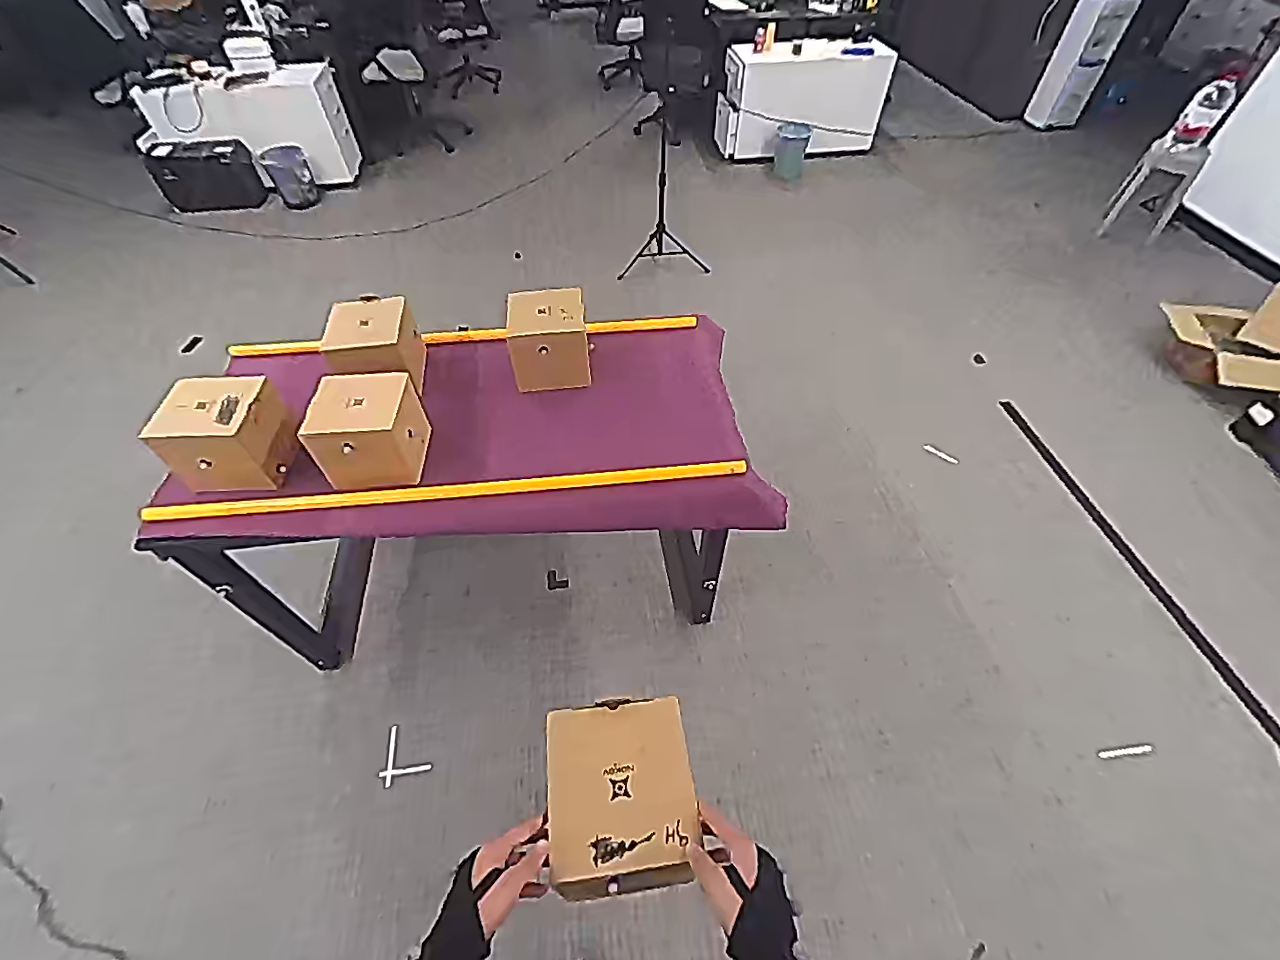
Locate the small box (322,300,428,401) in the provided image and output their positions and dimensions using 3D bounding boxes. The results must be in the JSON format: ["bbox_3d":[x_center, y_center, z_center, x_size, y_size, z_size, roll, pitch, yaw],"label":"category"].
[{"bbox_3d":[-0.612,-0.297,1.275,0.168,0.176,0.179,-8,53,-5],"label":"small box"}]

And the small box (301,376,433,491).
[{"bbox_3d":[-0.545,-0.093,1.112,0.179,0.176,0.168,-4,51,-2],"label":"small box"}]

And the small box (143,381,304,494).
[{"bbox_3d":[-0.828,-0.083,1.102,0.179,0.176,0.168,-2,51,-1],"label":"small box"}]

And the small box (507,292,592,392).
[{"bbox_3d":[-0.212,-0.325,1.294,0.179,0.176,0.168,-5,53,-4],"label":"small box"}]

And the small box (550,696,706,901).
[{"bbox_3d":[-0.022,0.394,0.671,0.168,0.176,0.179,-5,48,-5],"label":"small box"}]
